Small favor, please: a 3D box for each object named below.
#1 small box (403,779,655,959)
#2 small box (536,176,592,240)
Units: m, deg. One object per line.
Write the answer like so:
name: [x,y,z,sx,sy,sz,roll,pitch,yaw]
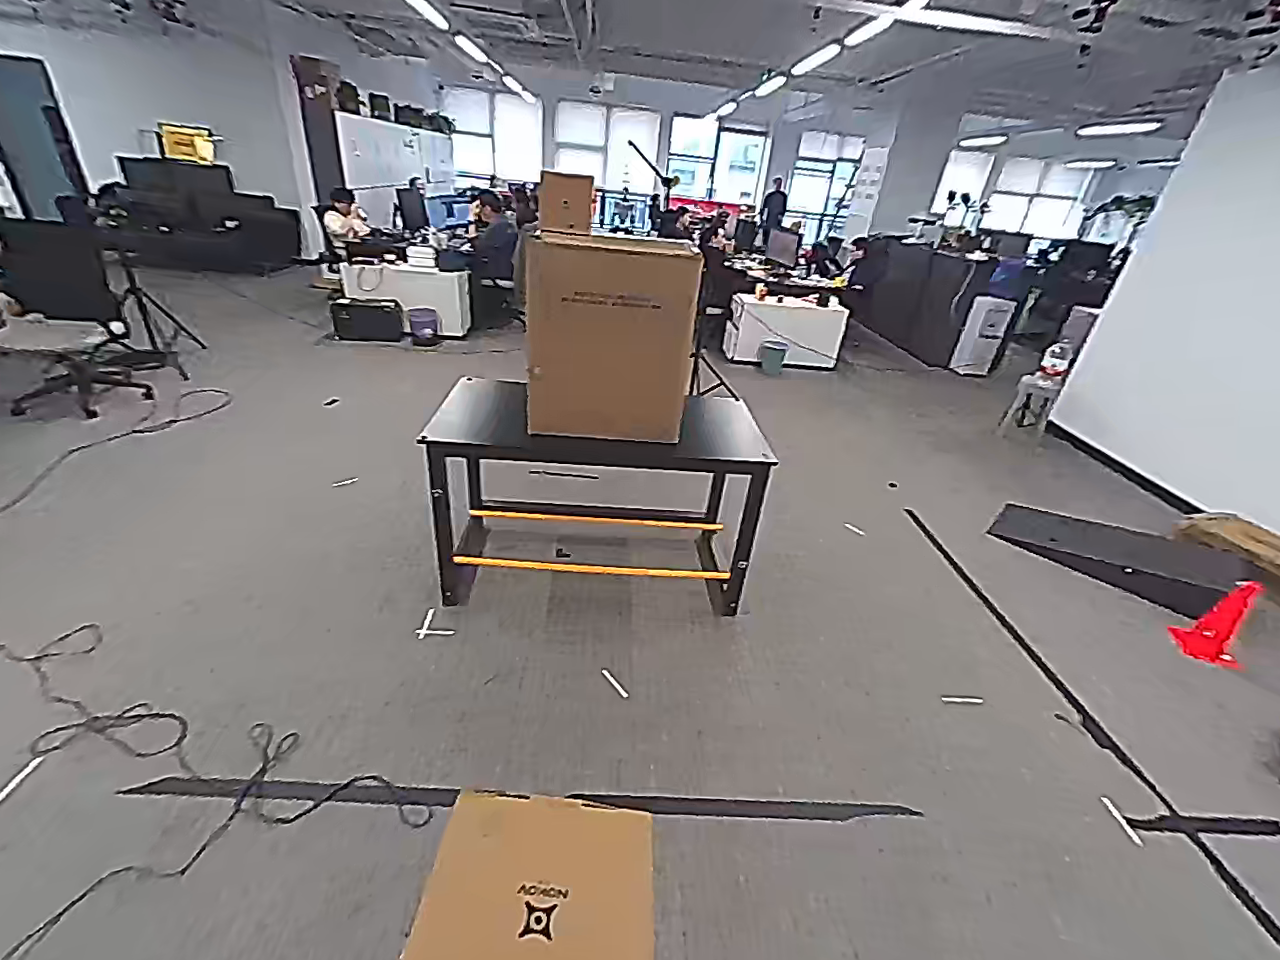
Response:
small box: [-0.084,0.373,0.414,0.168,0.176,0.179,9,22,-3]
small box: [-0.244,-0.881,1.754,0.168,0.176,0.179,4,28,-5]
